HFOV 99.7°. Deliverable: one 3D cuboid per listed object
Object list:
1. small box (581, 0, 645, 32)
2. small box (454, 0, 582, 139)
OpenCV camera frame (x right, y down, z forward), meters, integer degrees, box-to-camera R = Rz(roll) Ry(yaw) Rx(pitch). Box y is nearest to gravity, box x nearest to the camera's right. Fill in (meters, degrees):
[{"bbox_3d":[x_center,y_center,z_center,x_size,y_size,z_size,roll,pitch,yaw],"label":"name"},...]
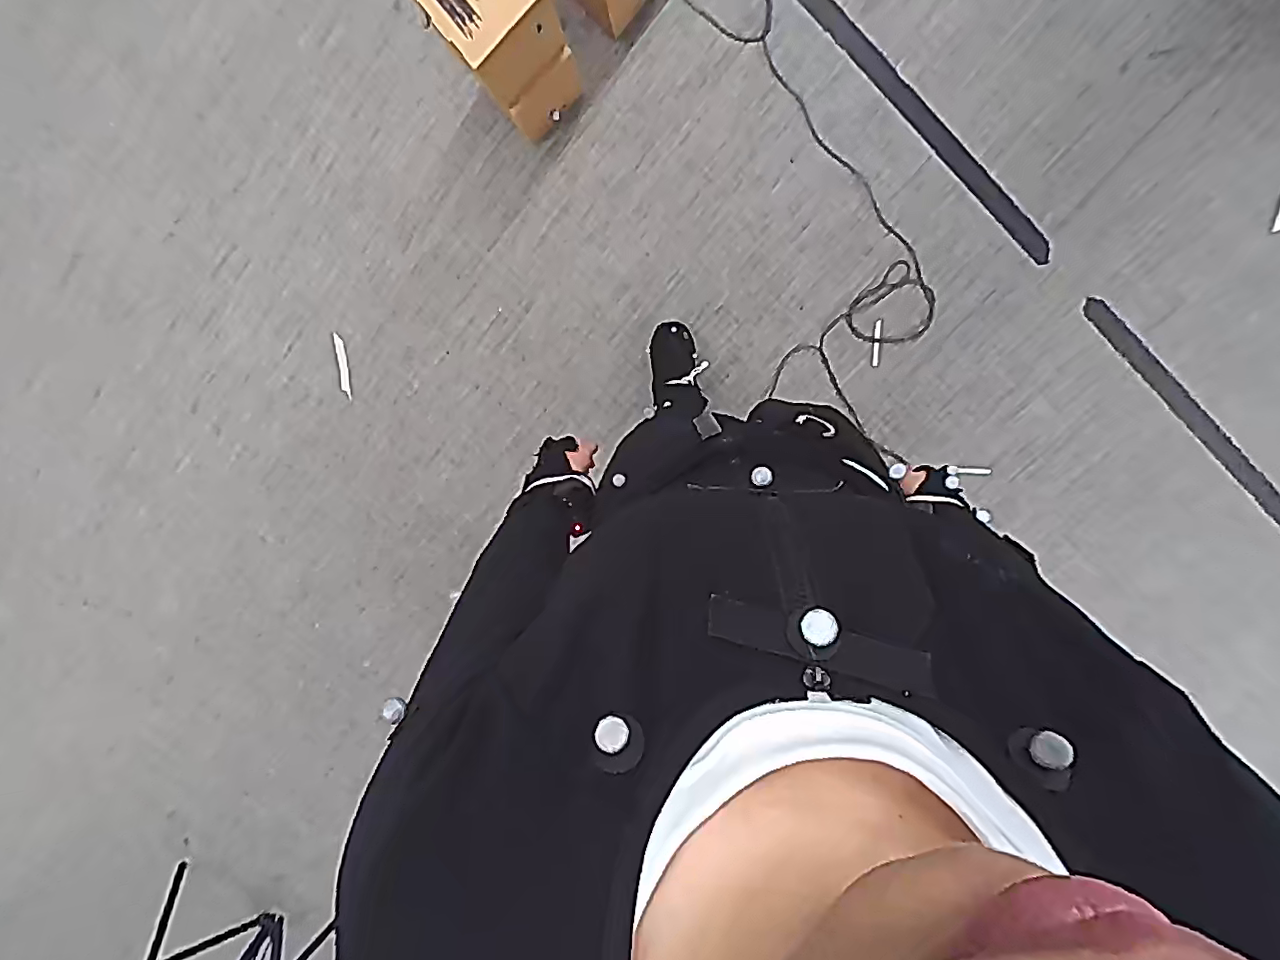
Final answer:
[{"bbox_3d":[-0.067,-1.045,1.058,0.179,0.176,0.168,43,103,-8],"label":"small box"},{"bbox_3d":[-0.241,-0.852,1.112,0.168,0.176,0.179,-40,100,11],"label":"small box"}]
